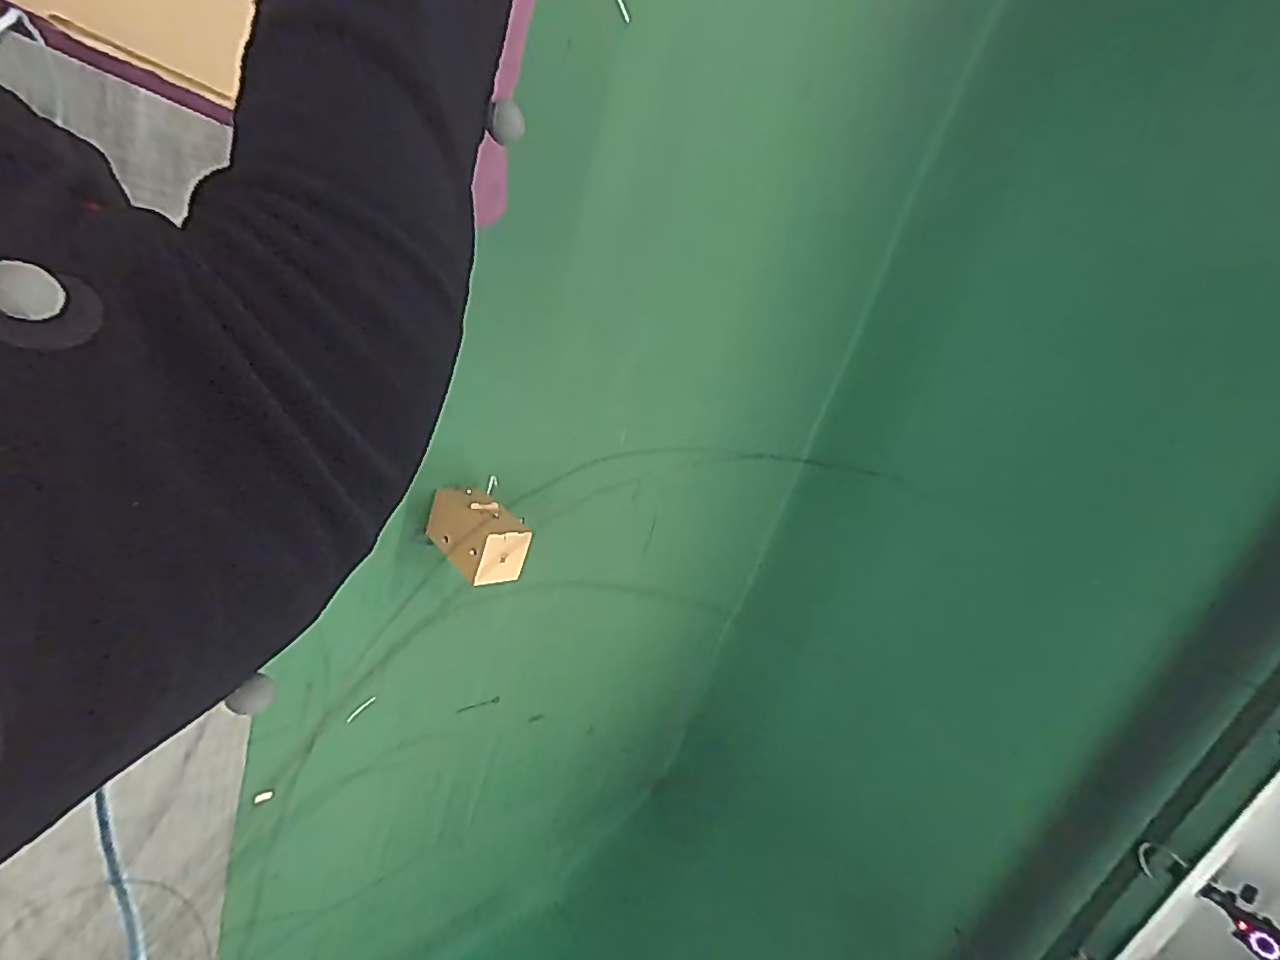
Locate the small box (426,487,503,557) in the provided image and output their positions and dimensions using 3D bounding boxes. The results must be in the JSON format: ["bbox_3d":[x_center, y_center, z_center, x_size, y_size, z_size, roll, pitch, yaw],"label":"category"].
[{"bbox_3d":[-0.593,0.137,1.807,0.168,0.176,0.179,1,114,-51],"label":"small box"}]

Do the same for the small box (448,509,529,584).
[{"bbox_3d":[-0.483,0.205,1.707,0.168,0.176,0.179,2,113,-51],"label":"small box"}]
